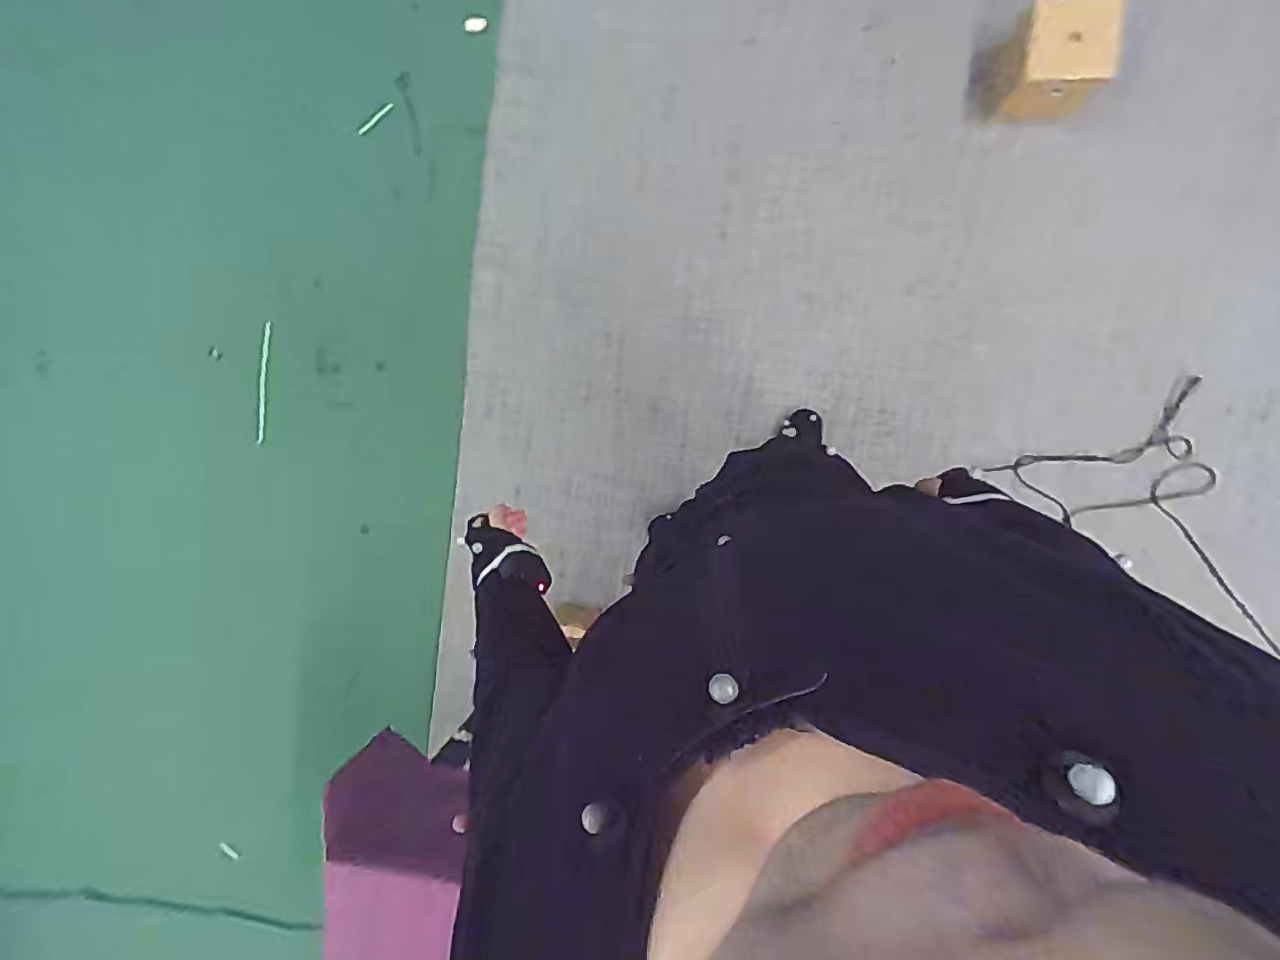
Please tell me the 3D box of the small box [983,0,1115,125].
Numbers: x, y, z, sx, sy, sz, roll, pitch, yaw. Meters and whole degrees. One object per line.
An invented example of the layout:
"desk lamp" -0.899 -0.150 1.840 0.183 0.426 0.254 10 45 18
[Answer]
"small box" 0.912 -0.935 1.225 0.179 0.176 0.168 5 96 7
